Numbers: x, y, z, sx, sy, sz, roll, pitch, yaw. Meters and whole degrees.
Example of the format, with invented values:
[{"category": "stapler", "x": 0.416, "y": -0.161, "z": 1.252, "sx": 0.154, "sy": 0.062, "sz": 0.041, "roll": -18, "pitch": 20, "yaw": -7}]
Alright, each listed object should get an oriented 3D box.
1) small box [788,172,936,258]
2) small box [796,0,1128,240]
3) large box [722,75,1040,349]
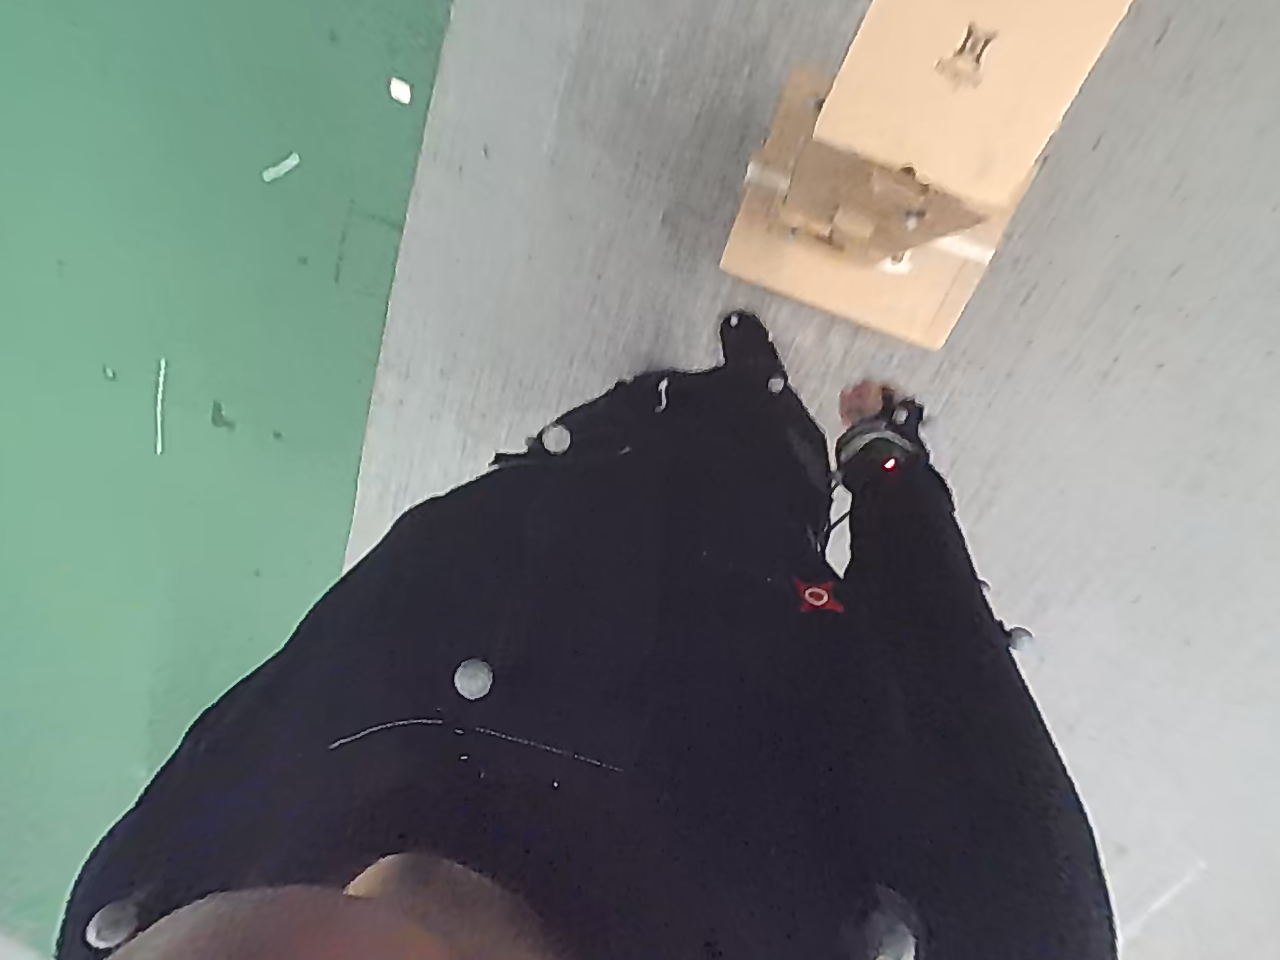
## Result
[{"category": "small box", "x": 0.285, "y": -0.379, "z": 0.624, "sx": 0.168, "sy": 0.176, "sz": 0.179, "roll": 27, "pitch": 110, "yaw": 1}, {"category": "small box", "x": 0.251, "y": -0.331, "z": 0.473, "sx": 0.168, "sy": 0.176, "sz": 0.179, "roll": 24, "pitch": 109, "yaw": 1}, {"category": "large box", "x": 0.392, "y": -0.467, "z": 1.009, "sx": 0.408, "sy": 0.320, "sz": 0.320, "roll": 21, "pitch": 111, "yaw": 3}]
